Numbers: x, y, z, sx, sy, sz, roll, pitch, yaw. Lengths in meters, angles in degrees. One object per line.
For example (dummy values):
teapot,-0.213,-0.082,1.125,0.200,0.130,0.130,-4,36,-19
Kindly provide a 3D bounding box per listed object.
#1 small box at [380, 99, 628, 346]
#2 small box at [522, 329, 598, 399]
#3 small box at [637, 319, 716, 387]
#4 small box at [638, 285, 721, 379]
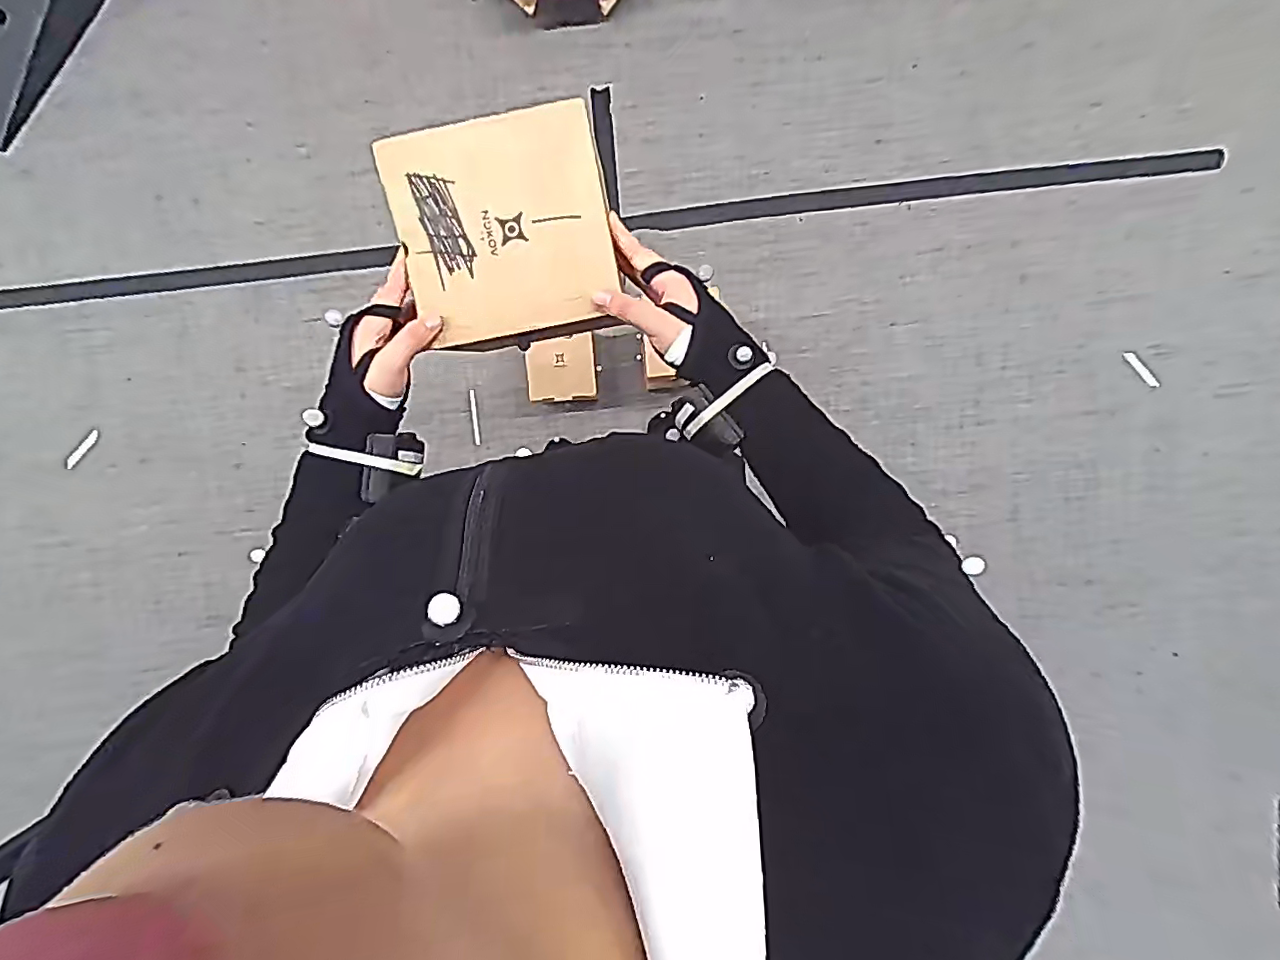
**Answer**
small box,-0.111,-0.227,0.525,0.179,0.176,0.168,-10,103,2
small box,-0.199,-0.300,1.382,0.168,0.176,0.179,-3,97,1
small box,0.088,-0.333,1.382,0.179,0.176,0.168,-7,96,0
small box,0.084,-0.326,1.219,0.168,0.176,0.179,-5,98,1
